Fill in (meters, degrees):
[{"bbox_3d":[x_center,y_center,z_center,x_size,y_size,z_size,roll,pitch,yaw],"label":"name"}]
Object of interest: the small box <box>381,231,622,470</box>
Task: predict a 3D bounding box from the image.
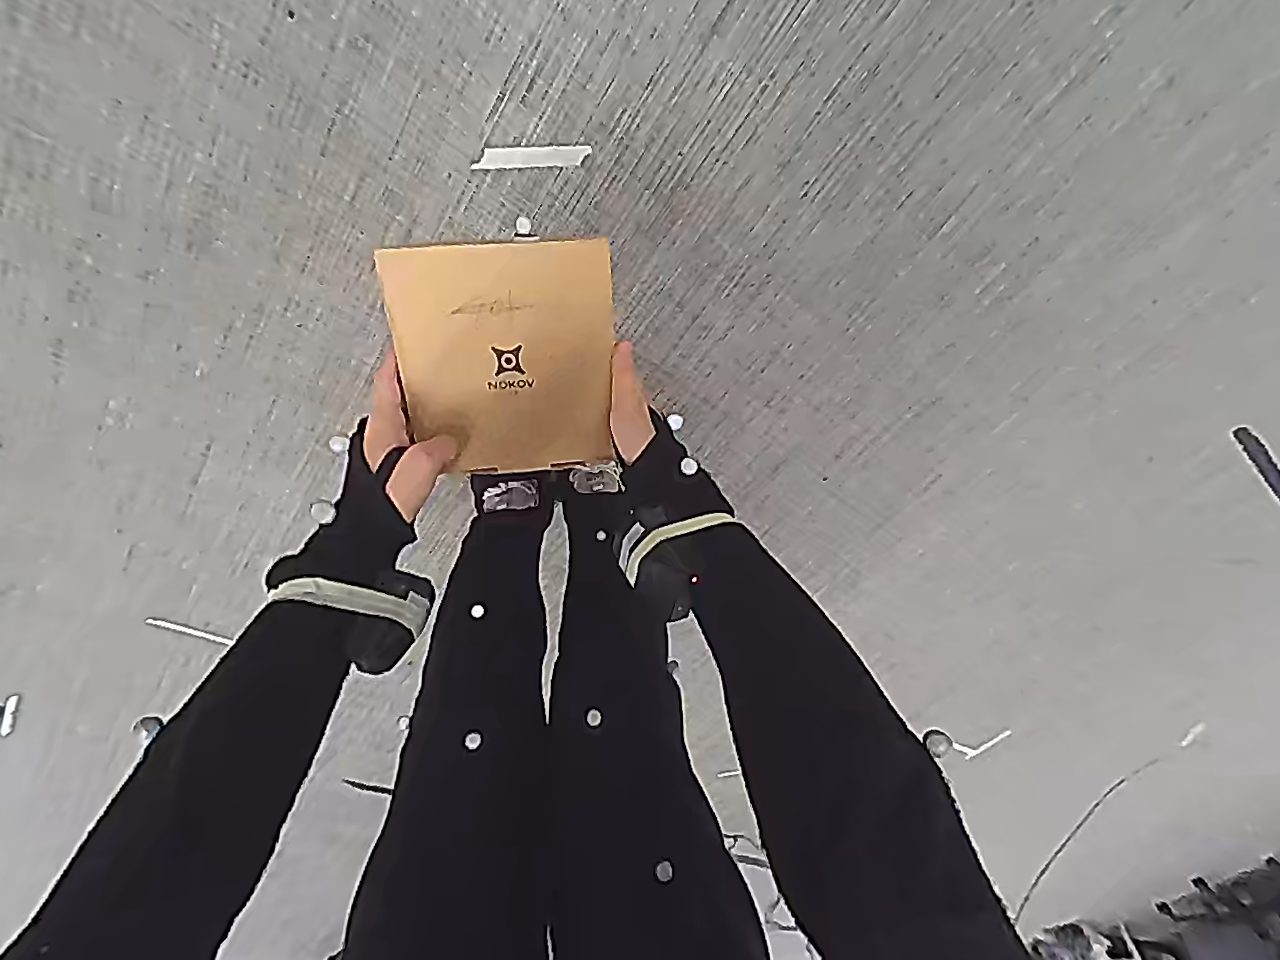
[{"bbox_3d":[-0.105,-0.126,0.490,0.168,0.176,0.179,-5,115,-5],"label":"small box"}]
